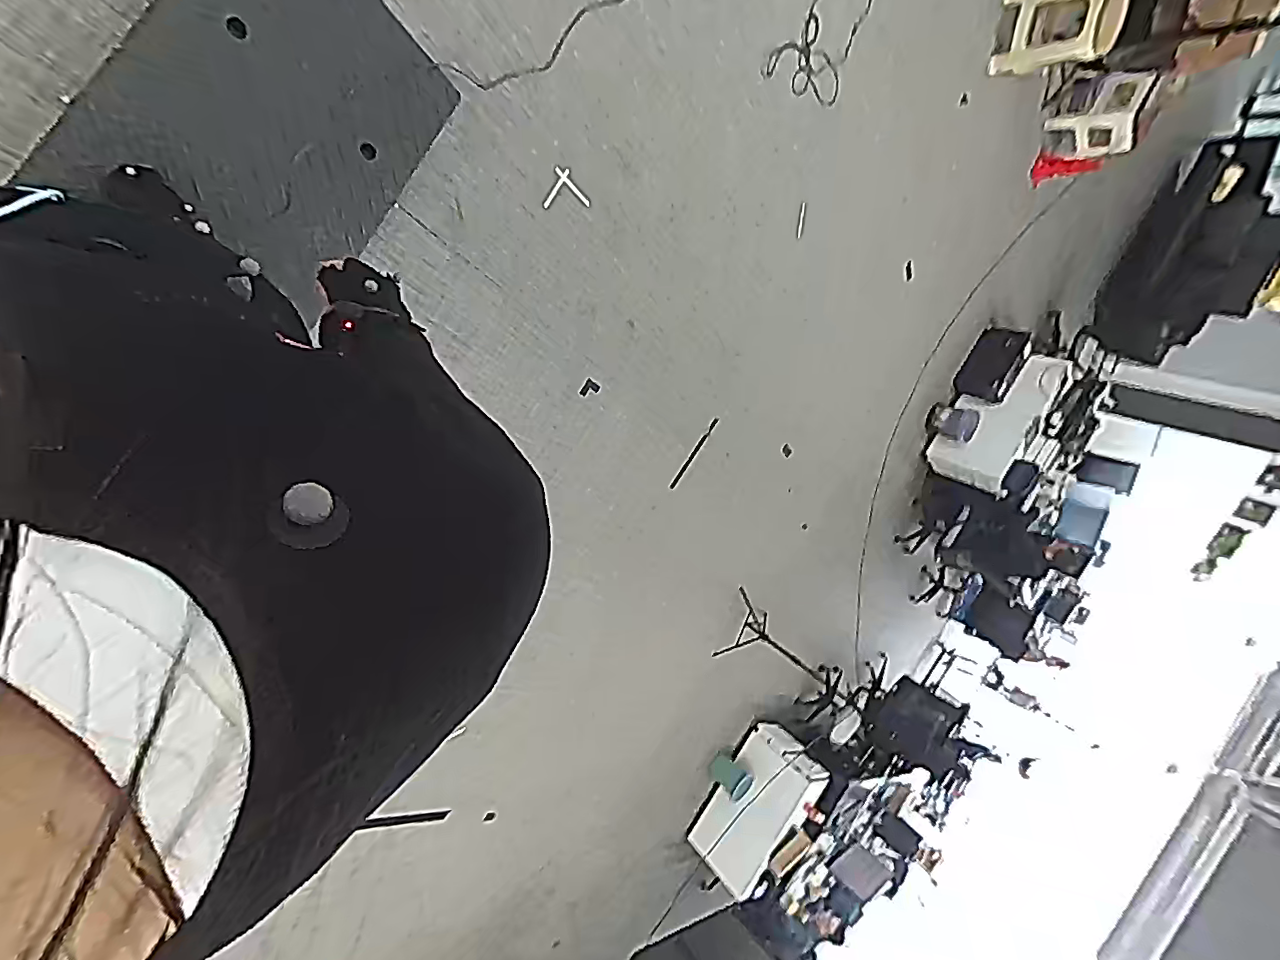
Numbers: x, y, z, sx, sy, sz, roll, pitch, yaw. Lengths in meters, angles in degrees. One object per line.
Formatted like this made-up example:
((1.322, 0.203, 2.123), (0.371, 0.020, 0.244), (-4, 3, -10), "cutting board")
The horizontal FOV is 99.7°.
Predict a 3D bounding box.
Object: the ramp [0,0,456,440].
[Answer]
((-0.820, -0.629, 1.159), (0.509, 0.206, 0.991), (32, 88, -45), "ramp")
